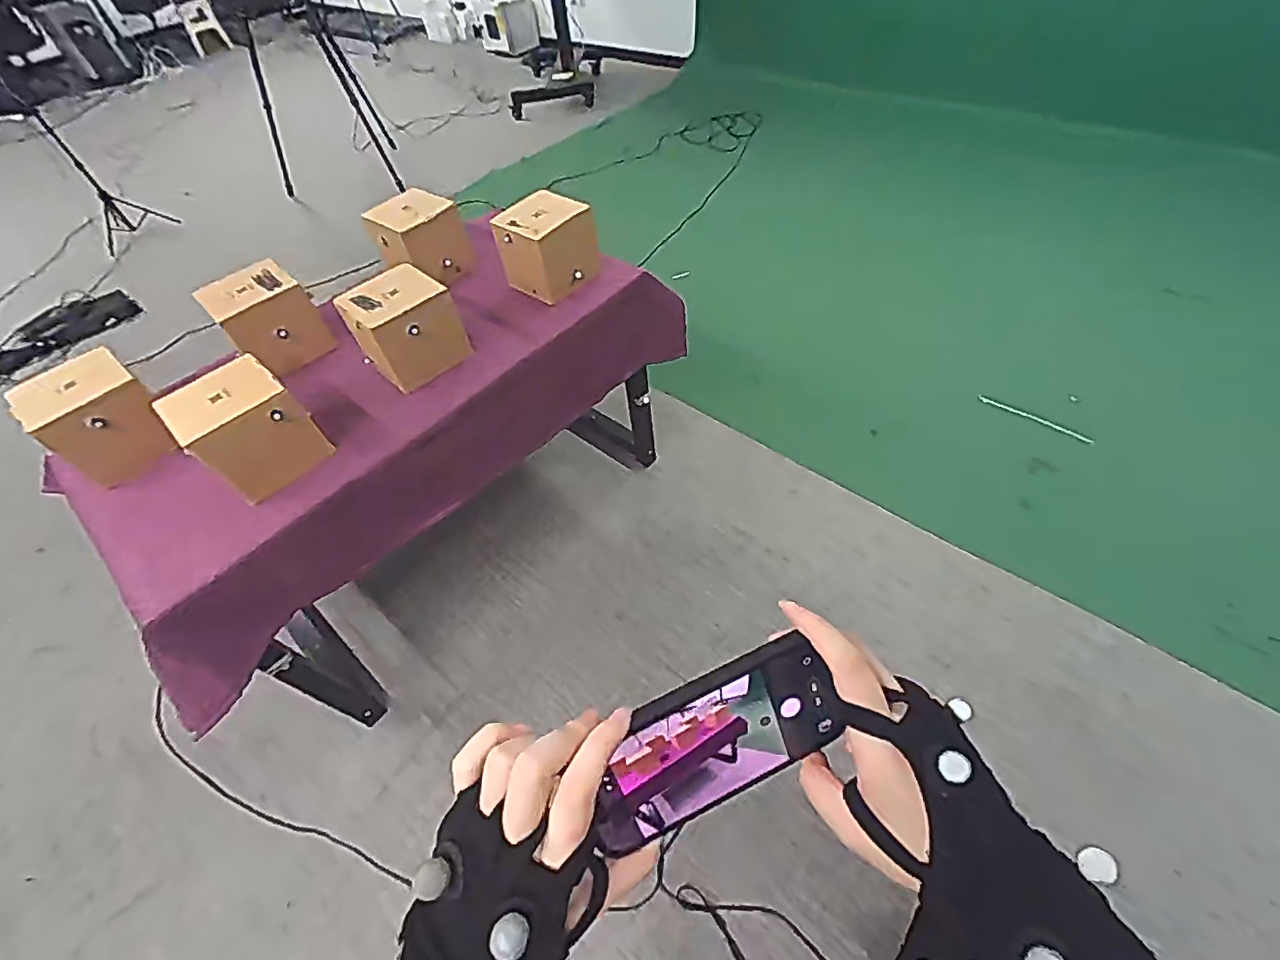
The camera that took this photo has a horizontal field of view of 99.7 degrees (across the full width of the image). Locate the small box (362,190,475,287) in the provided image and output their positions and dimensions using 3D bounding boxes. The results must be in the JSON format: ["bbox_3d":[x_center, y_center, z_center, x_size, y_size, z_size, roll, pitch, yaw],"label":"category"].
[{"bbox_3d":[-0.554,-0.601,1.370,0.179,0.176,0.168,31,62,26],"label":"small box"}]

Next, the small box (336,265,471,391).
[{"bbox_3d":[-0.492,-0.319,1.146,0.168,0.176,0.179,36,63,29],"label":"small box"}]

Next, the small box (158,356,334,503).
[{"bbox_3d":[-0.713,-0.089,0.994,0.168,0.176,0.179,34,62,28],"label":"small box"}]

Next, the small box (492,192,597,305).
[{"bbox_3d":[-0.219,-0.554,1.296,0.168,0.176,0.179,32,62,27],"label":"small box"}]
